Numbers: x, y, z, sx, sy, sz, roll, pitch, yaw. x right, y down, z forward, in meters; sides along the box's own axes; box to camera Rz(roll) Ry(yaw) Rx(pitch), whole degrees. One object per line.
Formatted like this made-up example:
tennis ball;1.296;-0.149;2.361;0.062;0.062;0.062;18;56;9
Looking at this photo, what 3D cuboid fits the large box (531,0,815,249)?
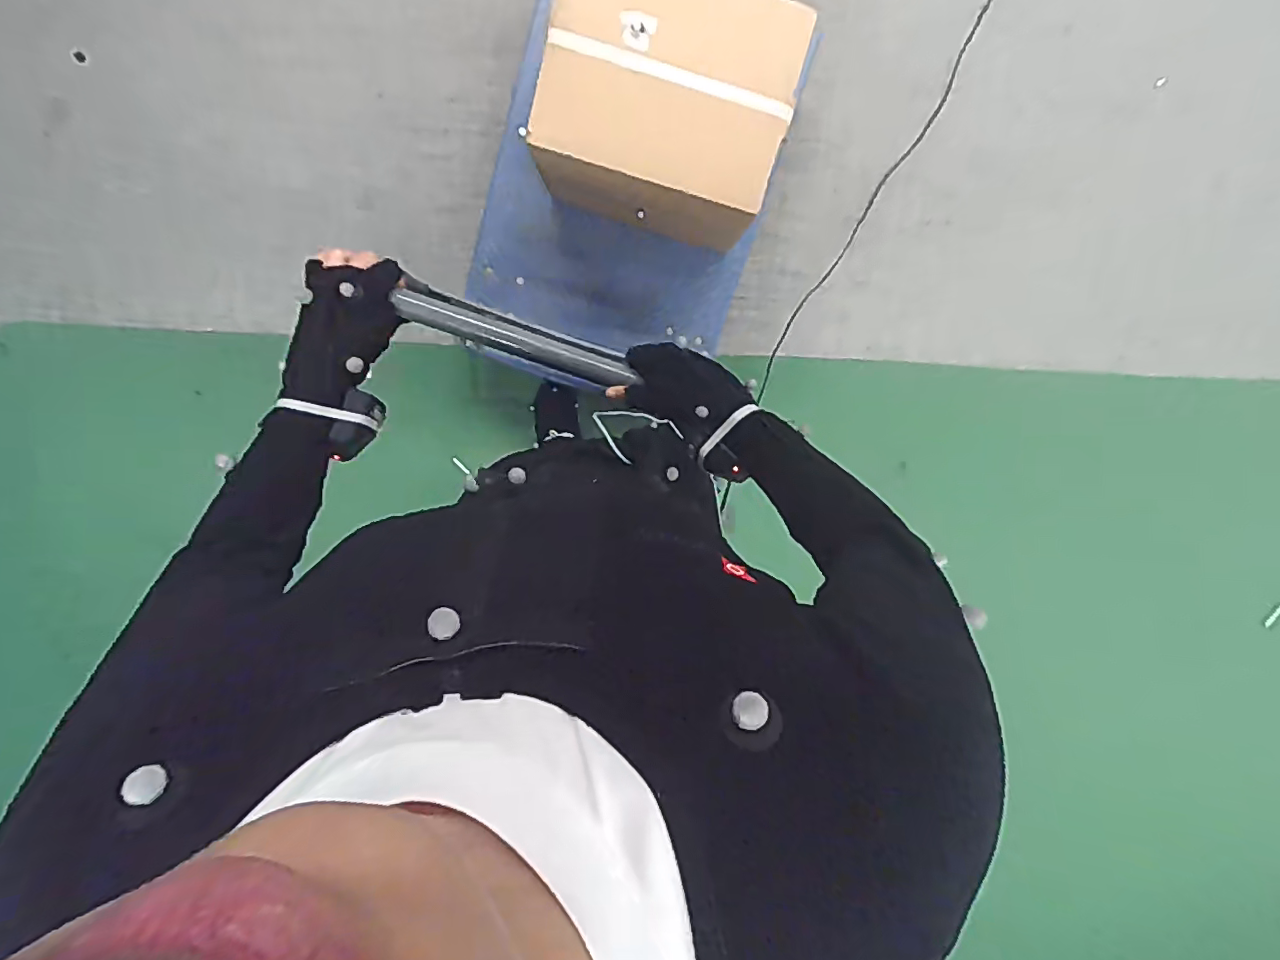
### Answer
large box;0.050;-0.669;1.017;0.408;0.320;0.320;15;100;-3
